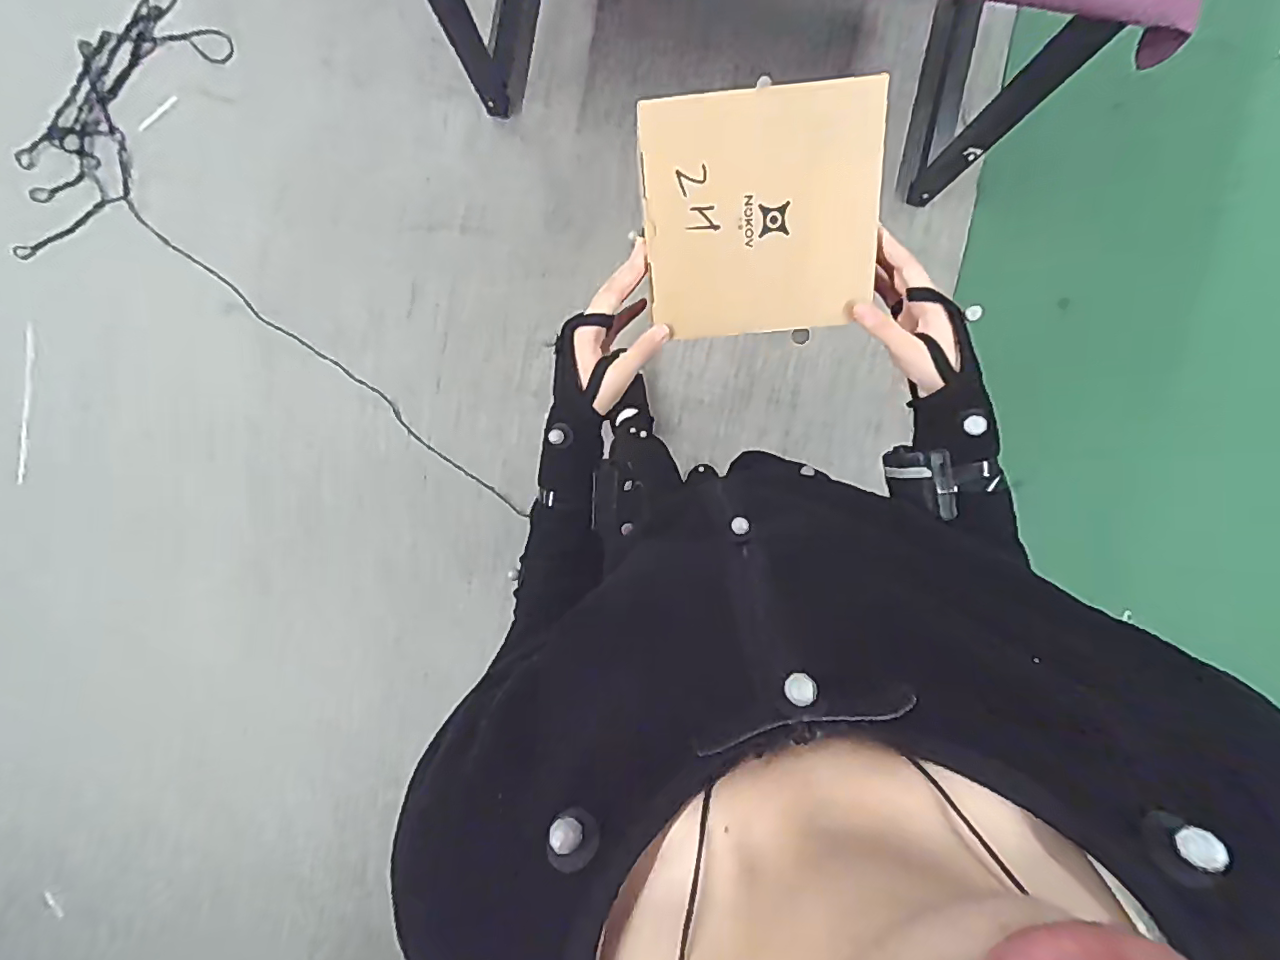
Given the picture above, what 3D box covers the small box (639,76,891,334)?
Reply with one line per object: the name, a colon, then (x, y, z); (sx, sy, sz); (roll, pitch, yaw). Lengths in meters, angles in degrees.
small box: (0.091, -0.228, 0.475); (0.179, 0.176, 0.168); (-4, 112, 2)
